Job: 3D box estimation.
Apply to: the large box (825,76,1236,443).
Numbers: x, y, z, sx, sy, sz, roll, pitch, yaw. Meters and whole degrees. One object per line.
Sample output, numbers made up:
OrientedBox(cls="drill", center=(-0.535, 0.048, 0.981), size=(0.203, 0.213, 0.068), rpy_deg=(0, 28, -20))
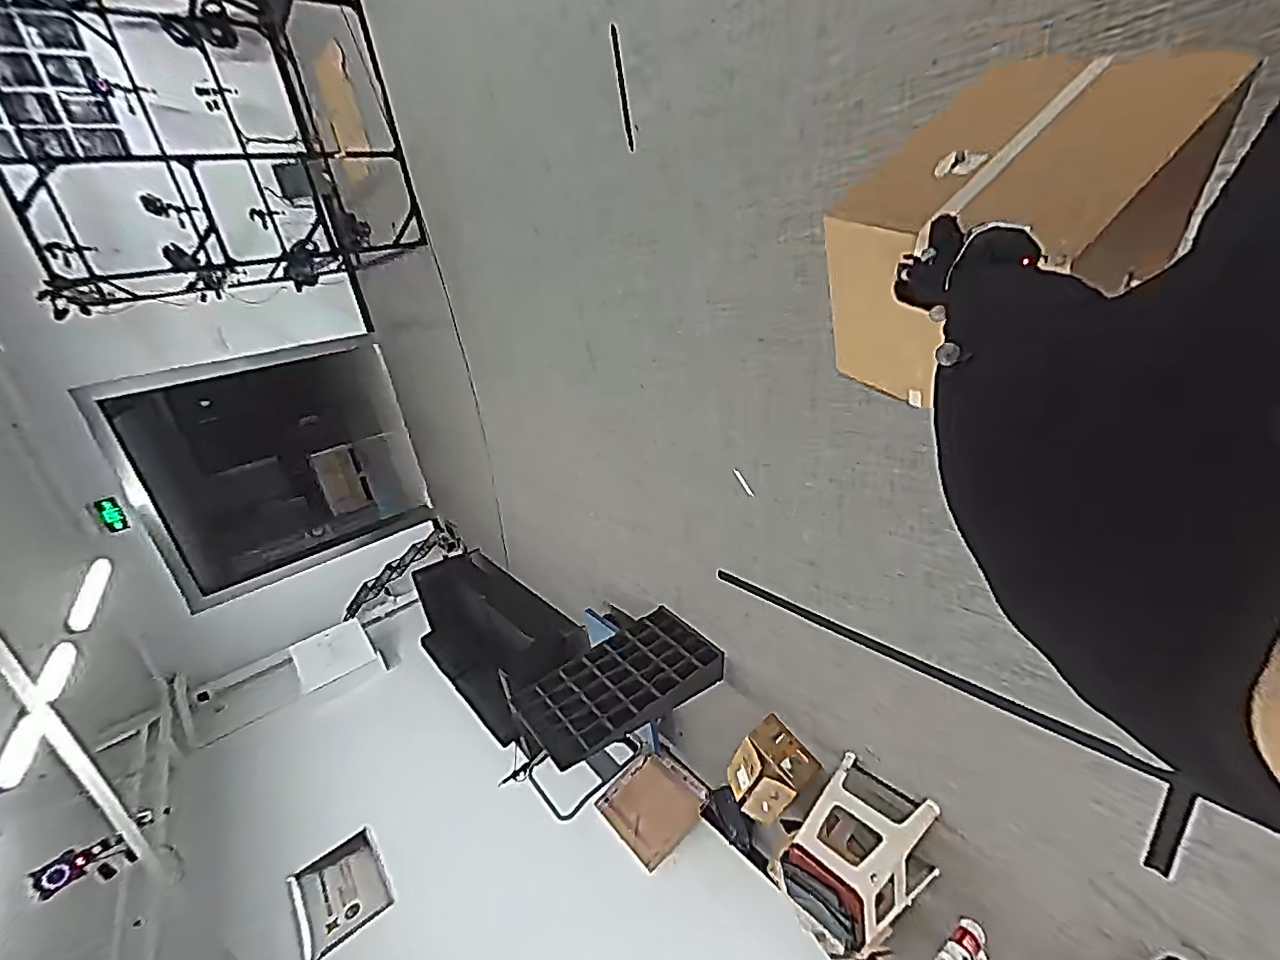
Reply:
OrientedBox(cls="large box", center=(0.549, -0.338, 0.826), size=(0.320, 0.408, 0.320), rpy_deg=(38, 167, 42))
